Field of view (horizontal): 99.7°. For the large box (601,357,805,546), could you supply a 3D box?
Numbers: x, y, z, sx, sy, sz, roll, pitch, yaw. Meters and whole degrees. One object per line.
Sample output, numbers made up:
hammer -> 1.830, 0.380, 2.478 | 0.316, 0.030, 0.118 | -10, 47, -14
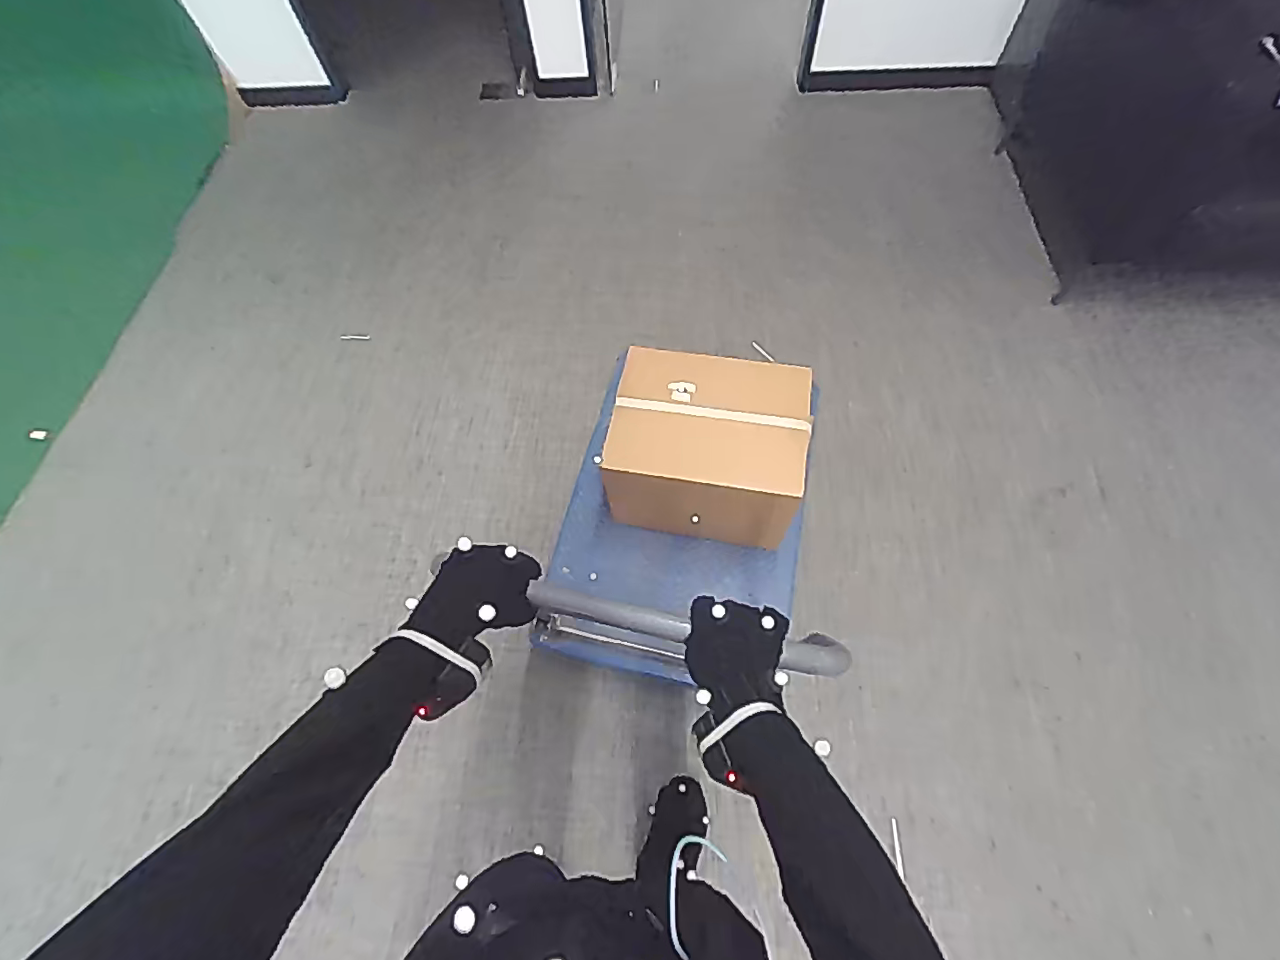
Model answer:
large box -> 0.151, -0.056, 1.269 | 0.408, 0.320, 0.320 | 8, 64, 8
